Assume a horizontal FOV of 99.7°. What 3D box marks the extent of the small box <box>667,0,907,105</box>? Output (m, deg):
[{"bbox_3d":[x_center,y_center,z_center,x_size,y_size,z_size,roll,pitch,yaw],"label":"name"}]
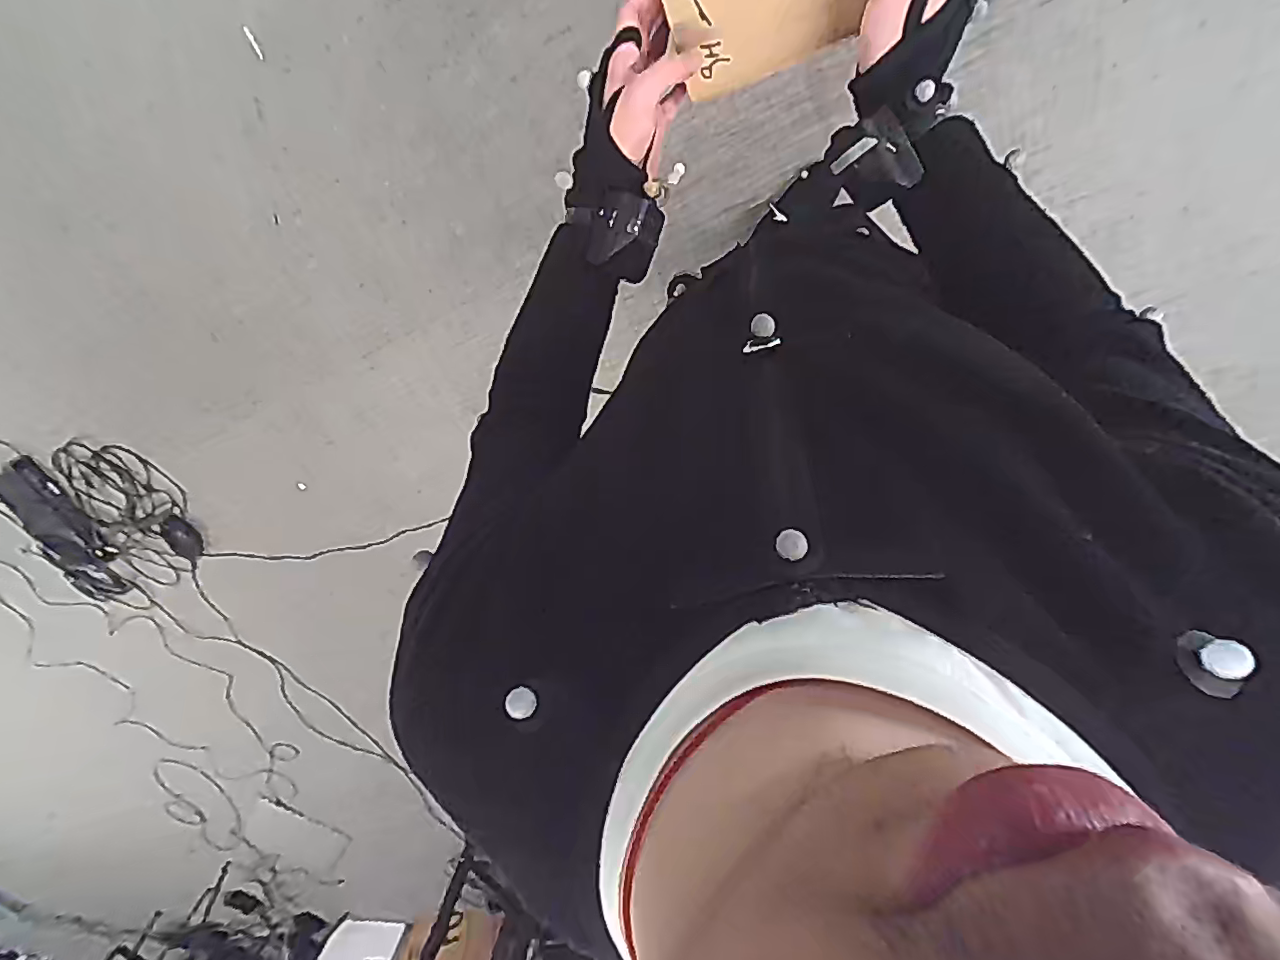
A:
[{"bbox_3d":[0.097,-0.452,0.425,0.179,0.176,0.168,-13,148,17],"label":"small box"}]
